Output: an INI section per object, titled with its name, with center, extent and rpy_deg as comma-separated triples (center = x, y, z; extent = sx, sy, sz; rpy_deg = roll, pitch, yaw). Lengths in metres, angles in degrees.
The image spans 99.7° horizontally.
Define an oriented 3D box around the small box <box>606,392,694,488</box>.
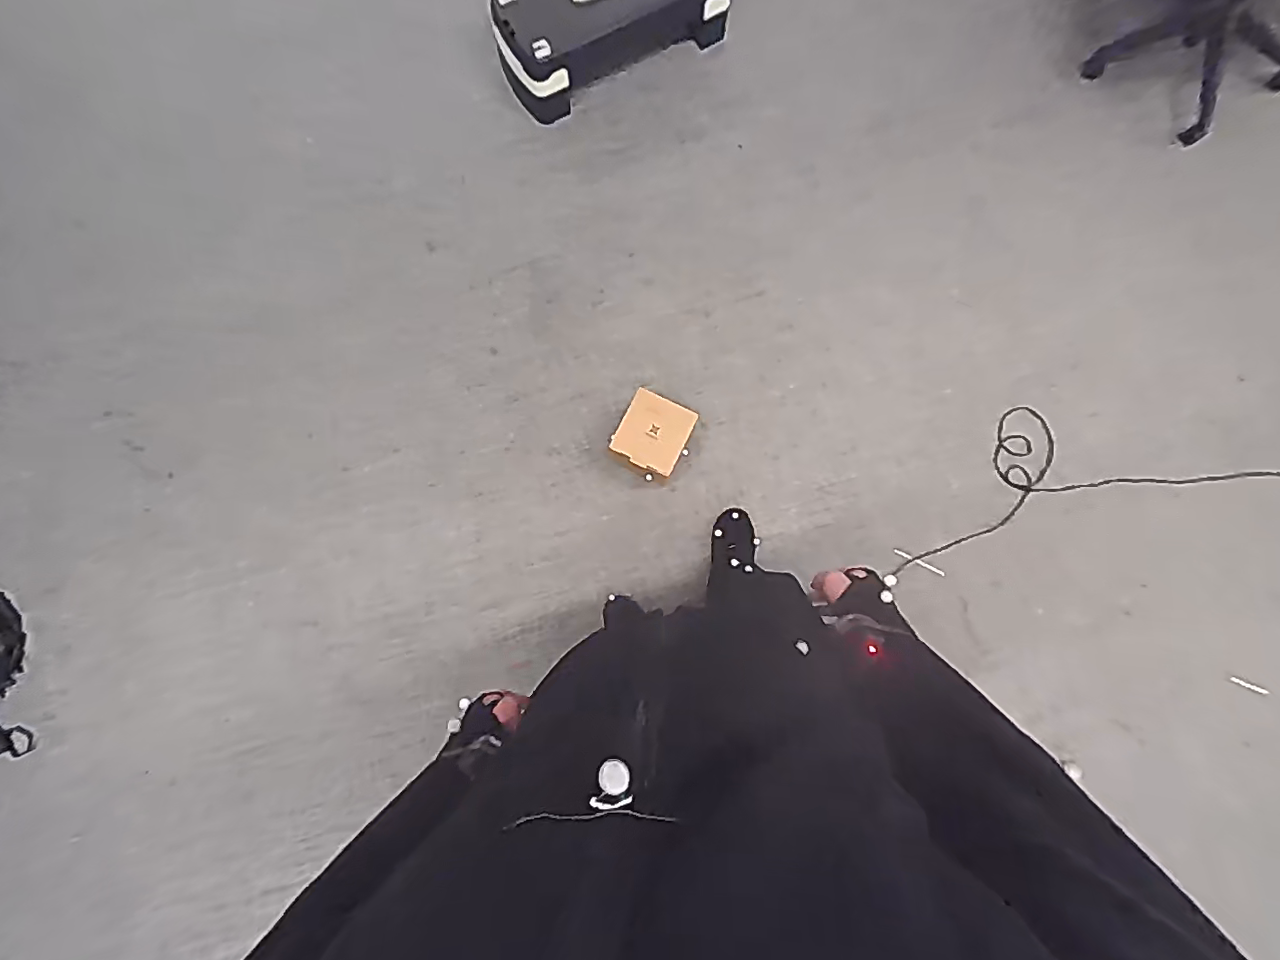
[small box]
center = 0.025, -0.096, 1.406
extent = 0.168, 0.176, 0.179
rpy_deg = 26, 80, 3
